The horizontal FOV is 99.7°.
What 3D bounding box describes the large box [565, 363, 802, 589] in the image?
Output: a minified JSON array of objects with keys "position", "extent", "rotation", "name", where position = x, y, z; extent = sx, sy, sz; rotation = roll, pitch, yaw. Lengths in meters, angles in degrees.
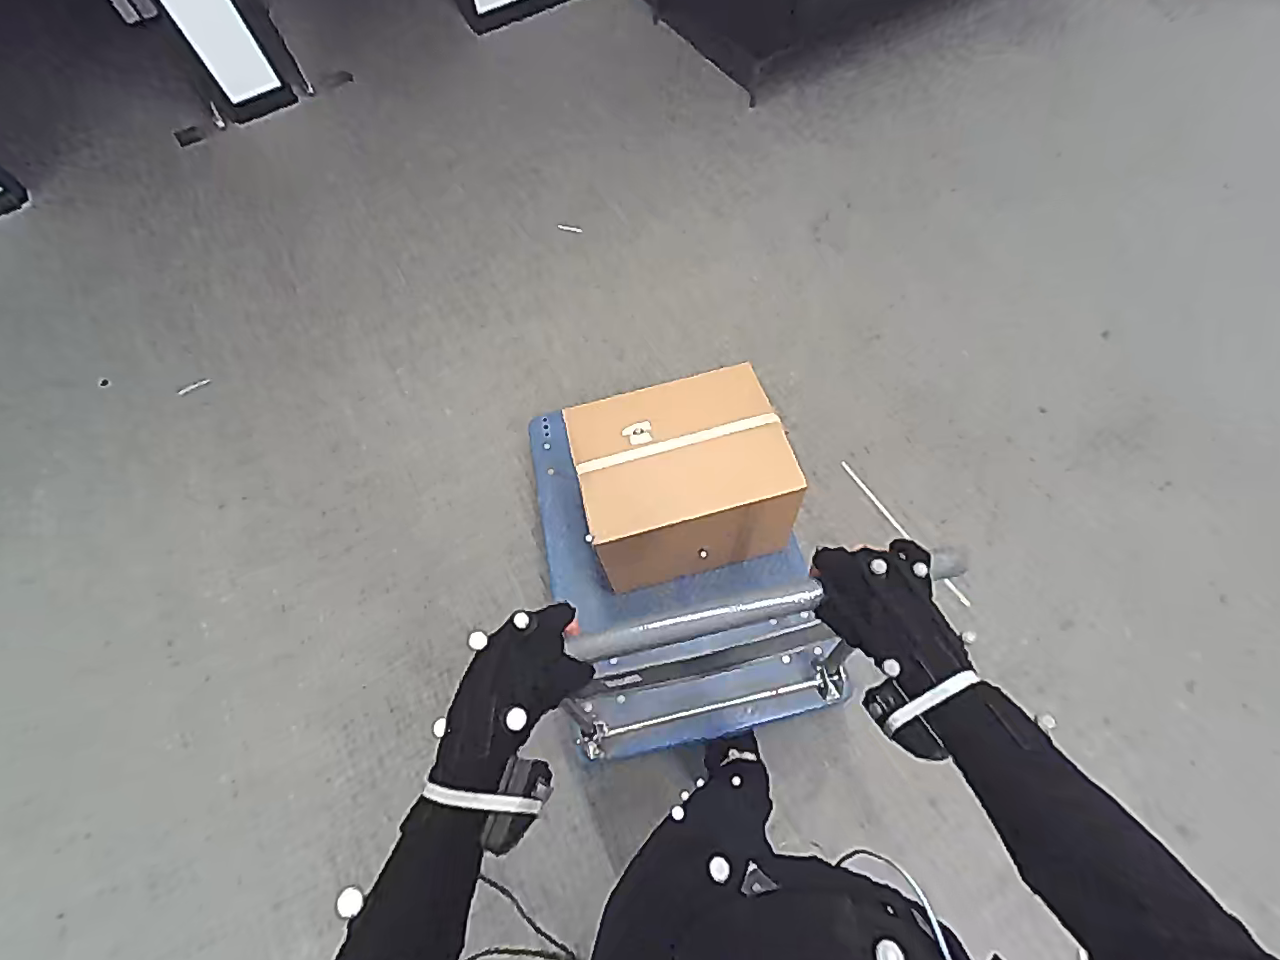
[{"position":[0.089,0.005,1.192],"extent":[0.408,0.320,0.320],"rotation":[-17,61,-2],"name":"large box"}]
